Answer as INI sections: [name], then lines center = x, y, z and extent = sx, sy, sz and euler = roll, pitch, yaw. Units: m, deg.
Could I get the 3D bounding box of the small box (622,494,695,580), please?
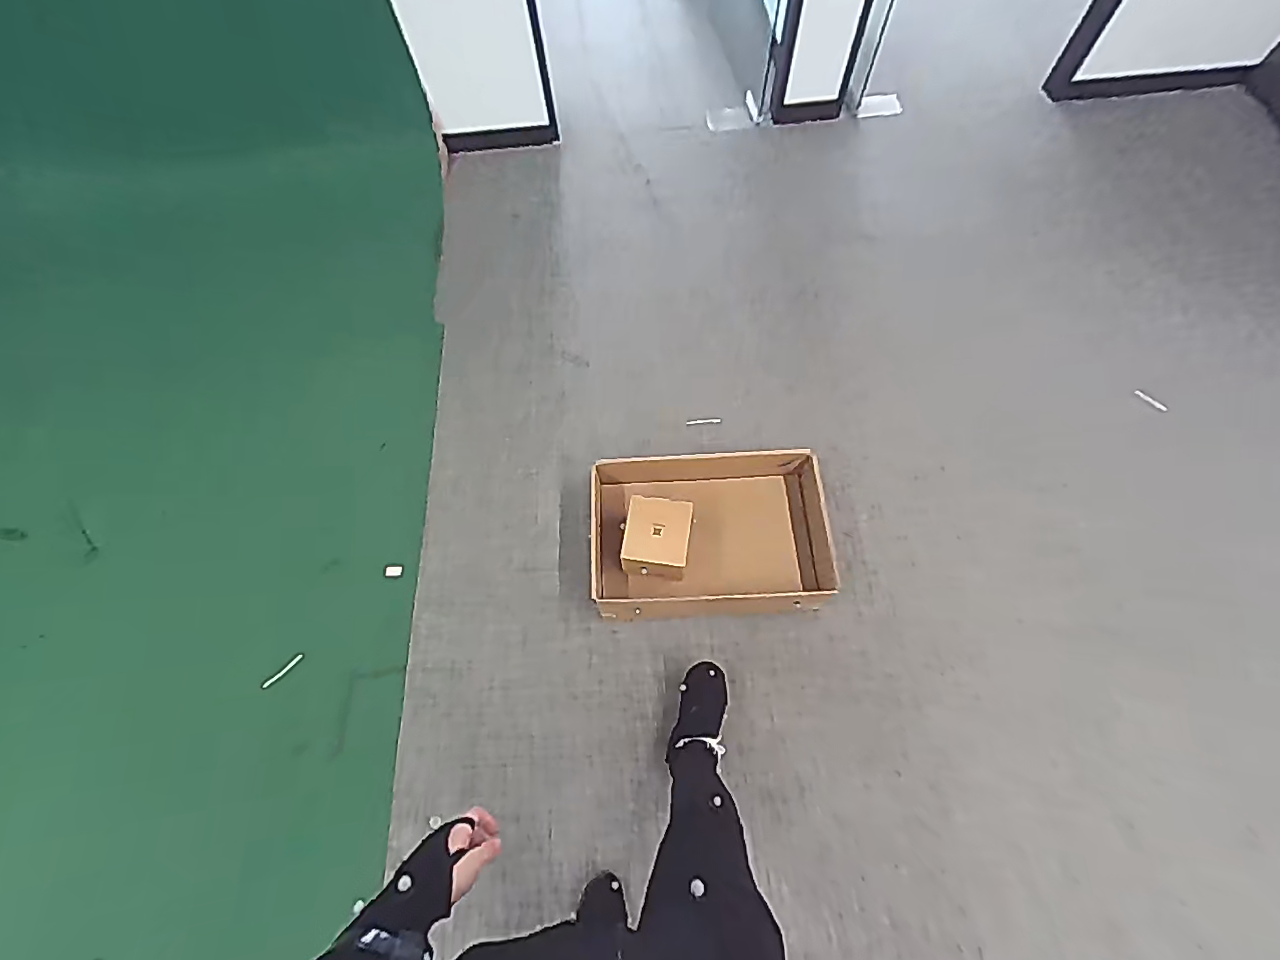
[small box]
center = 0.051, 0.158, 1.440
extent = 0.168, 0.176, 0.179
euler = 7, 65, 5
